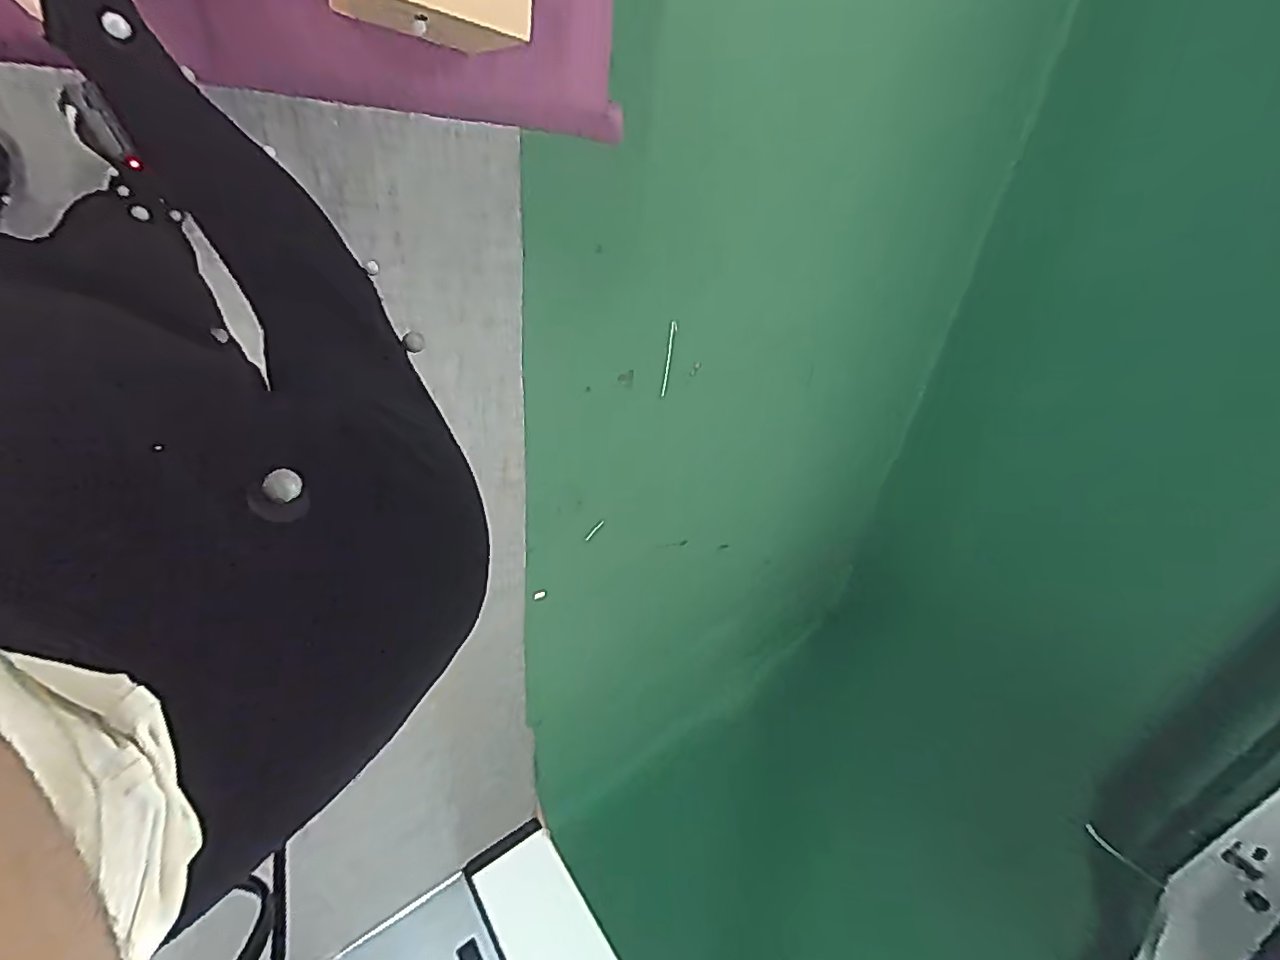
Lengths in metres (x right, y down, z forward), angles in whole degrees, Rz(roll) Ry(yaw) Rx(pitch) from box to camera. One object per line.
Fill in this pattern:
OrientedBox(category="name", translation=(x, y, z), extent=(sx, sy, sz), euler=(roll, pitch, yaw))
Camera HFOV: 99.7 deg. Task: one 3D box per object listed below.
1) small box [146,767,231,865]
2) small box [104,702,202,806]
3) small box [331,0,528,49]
OrientedBox(category="small box", translation=(-1.454, 1.070, 1.738), extent=(0.179, 0.176, 0.168), euler=(-18, 128, -34))
OrientedBox(category="small box", translation=(-1.418, 0.790, 1.578), extent=(0.179, 0.176, 0.168), euler=(-18, 129, -33))
OrientedBox(category="small box", translation=(-0.234, -0.593, 0.584), extent=(0.179, 0.176, 0.168), euler=(-12, 125, -36))
